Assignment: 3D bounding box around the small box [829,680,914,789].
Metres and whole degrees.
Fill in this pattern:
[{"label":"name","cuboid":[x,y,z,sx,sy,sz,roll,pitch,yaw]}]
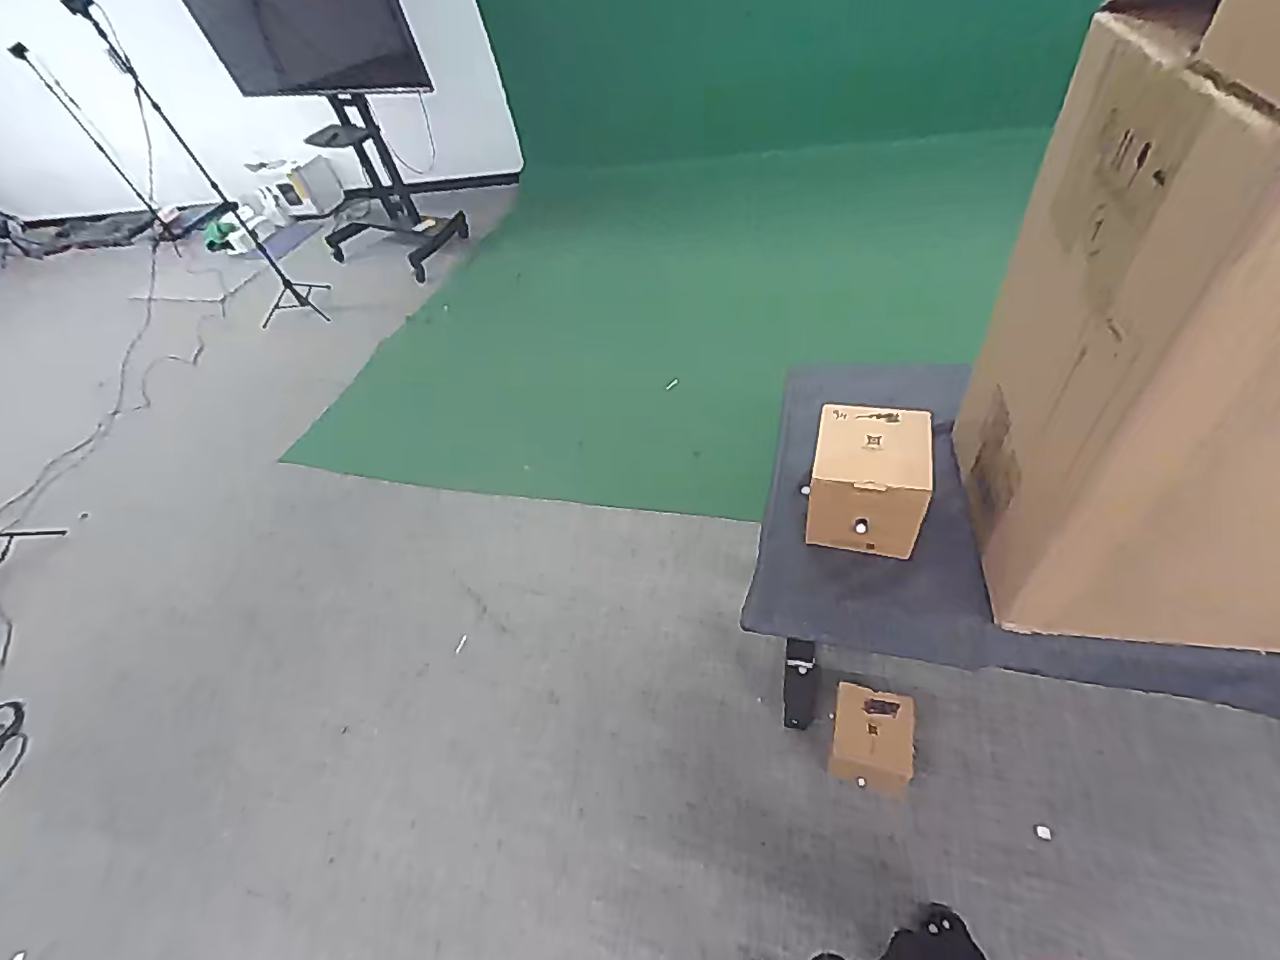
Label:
[{"label":"small box","cuboid":[0.555,0.616,1.308,0.168,0.176,0.179,7,53,21]}]
